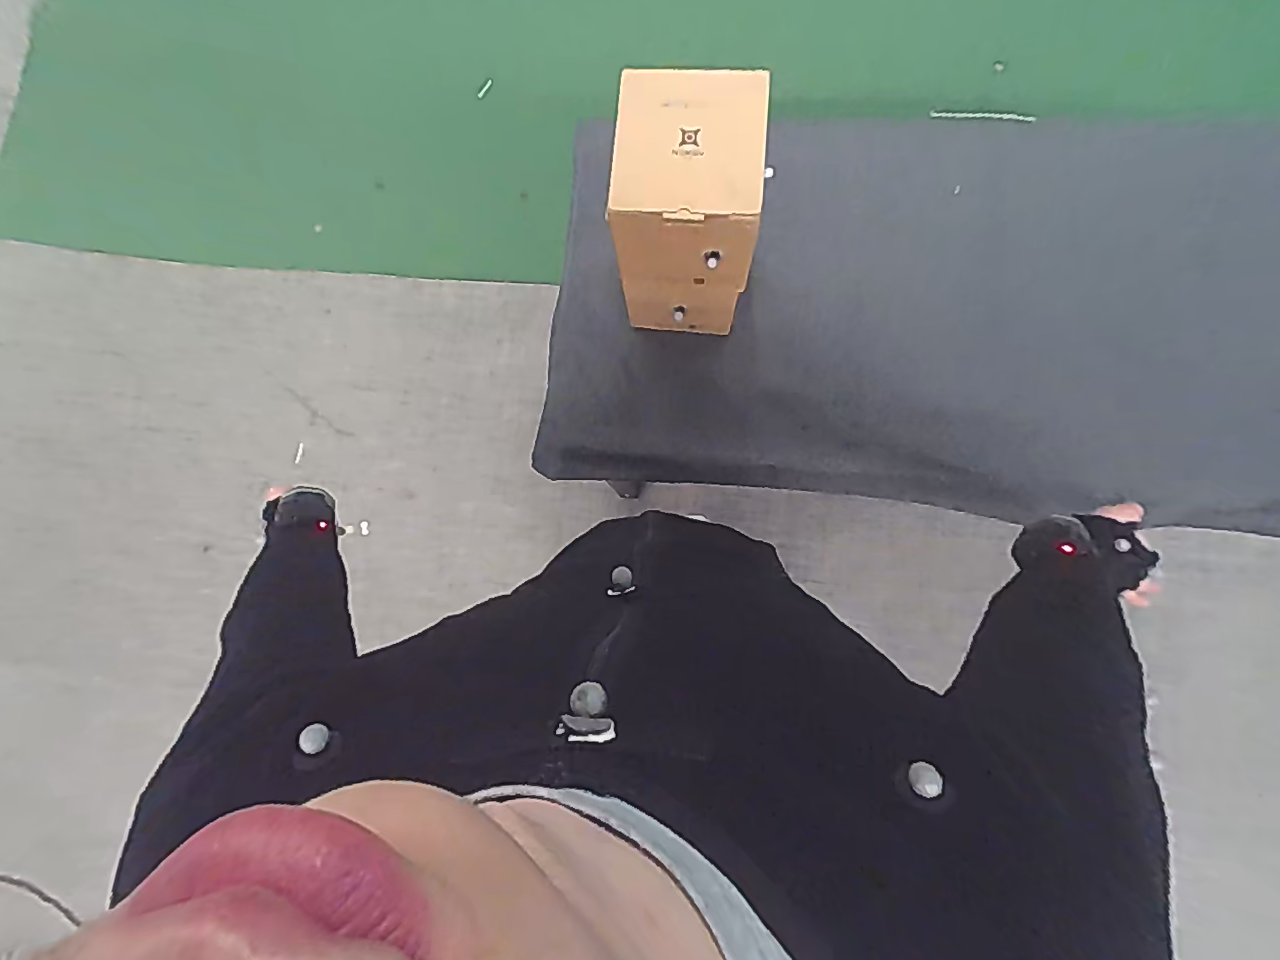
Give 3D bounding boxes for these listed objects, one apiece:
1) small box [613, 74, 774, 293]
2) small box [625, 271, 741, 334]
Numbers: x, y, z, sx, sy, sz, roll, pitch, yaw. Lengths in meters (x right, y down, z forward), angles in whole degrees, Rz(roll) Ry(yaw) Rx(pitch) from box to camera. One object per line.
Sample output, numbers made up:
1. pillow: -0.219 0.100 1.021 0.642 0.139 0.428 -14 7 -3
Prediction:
1. small box: 0.064 -0.350 0.665 0.168 0.176 0.179 4 81 4
2. small box: 0.076 -0.339 0.827 0.168 0.176 0.179 7 82 4
